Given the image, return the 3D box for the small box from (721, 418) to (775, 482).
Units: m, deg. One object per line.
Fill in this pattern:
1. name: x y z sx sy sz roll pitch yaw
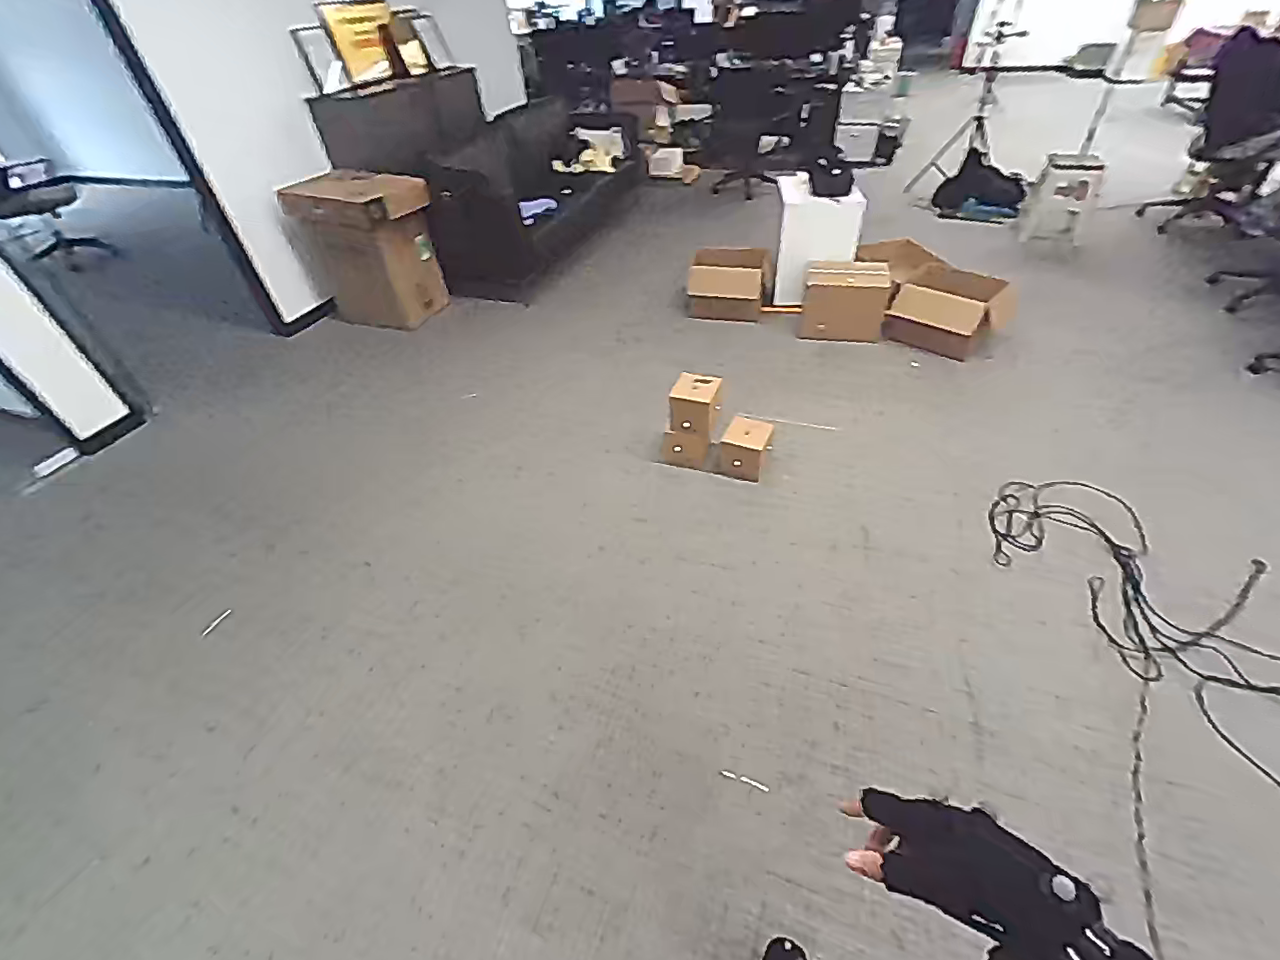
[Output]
1. small box: 0.432 -0.117 2.172 0.168 0.176 0.179 16 46 22

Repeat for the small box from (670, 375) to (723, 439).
1. small box: 0.224 -0.288 2.139 0.168 0.176 0.179 13 46 19

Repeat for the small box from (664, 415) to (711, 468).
1. small box: 0.204 -0.168 2.256 0.168 0.176 0.179 7 43 14
